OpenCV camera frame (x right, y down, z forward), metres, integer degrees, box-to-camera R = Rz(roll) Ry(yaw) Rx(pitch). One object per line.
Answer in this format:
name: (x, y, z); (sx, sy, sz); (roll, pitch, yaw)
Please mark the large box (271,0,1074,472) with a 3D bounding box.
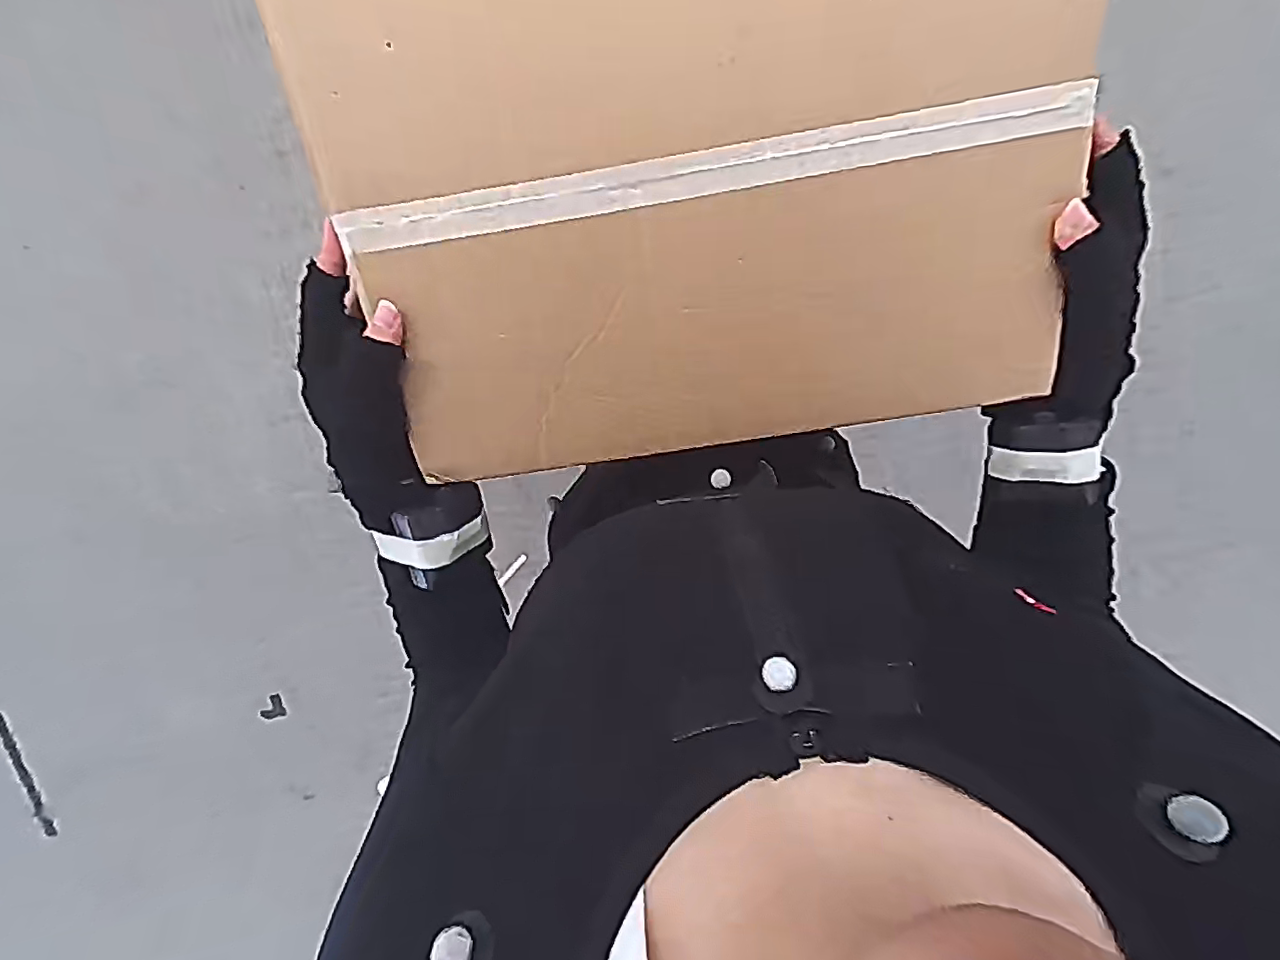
large box: (0.028, -0.234, 0.437); (0.408, 0.320, 0.320); (-8, 113, 3)
